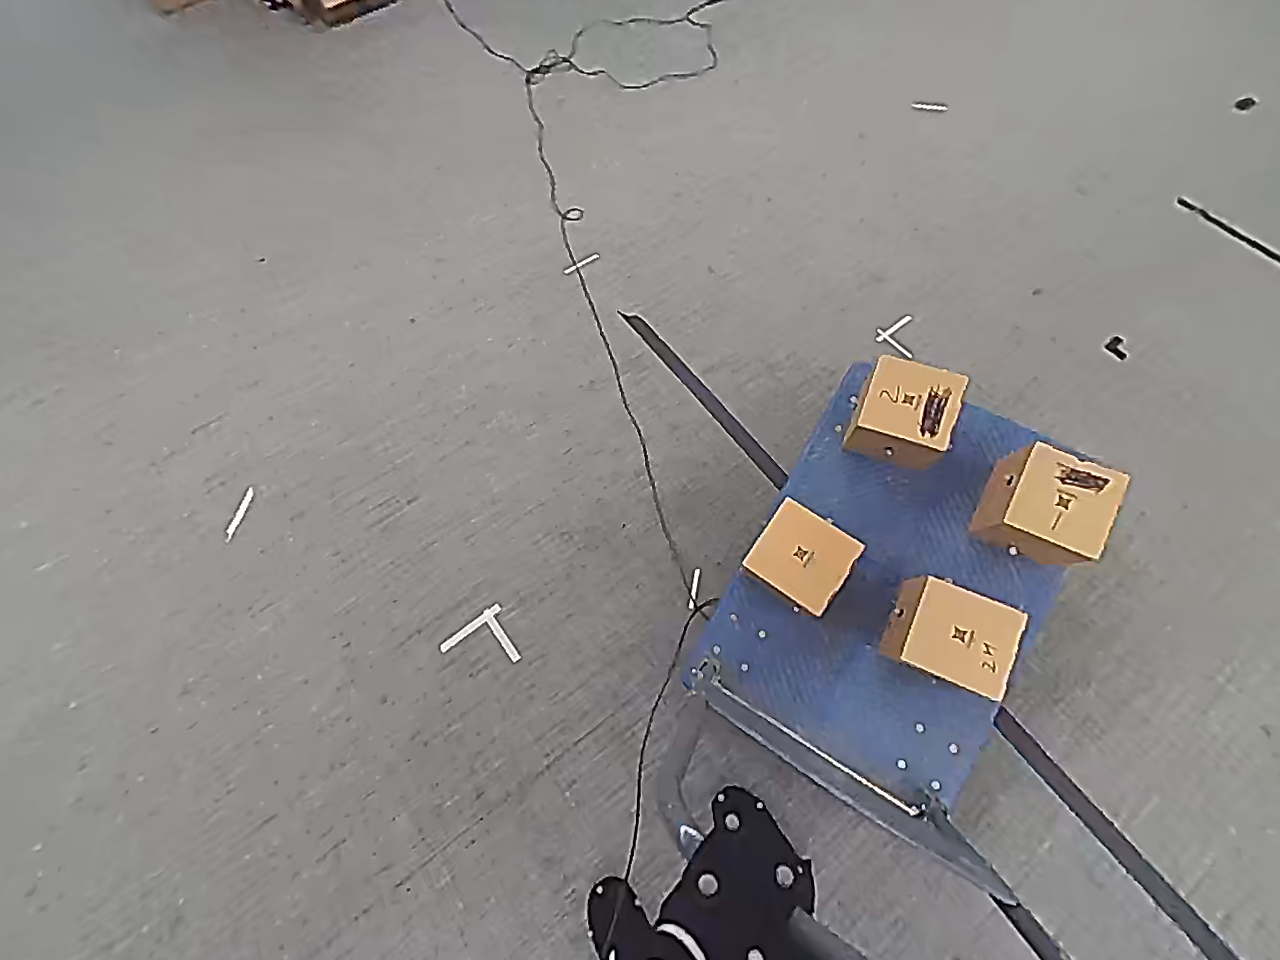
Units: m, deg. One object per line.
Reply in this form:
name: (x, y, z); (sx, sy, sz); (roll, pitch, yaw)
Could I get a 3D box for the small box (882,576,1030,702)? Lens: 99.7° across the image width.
small box: (0.591, 0.299, 1.038); (0.179, 0.176, 0.168); (22, 82, 14)

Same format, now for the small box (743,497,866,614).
small box: (0.327, 0.162, 1.117); (0.179, 0.176, 0.168); (34, 85, 14)

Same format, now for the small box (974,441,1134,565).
small box: (0.794, 0.052, 1.058); (0.168, 0.176, 0.179); (25, 84, 15)
